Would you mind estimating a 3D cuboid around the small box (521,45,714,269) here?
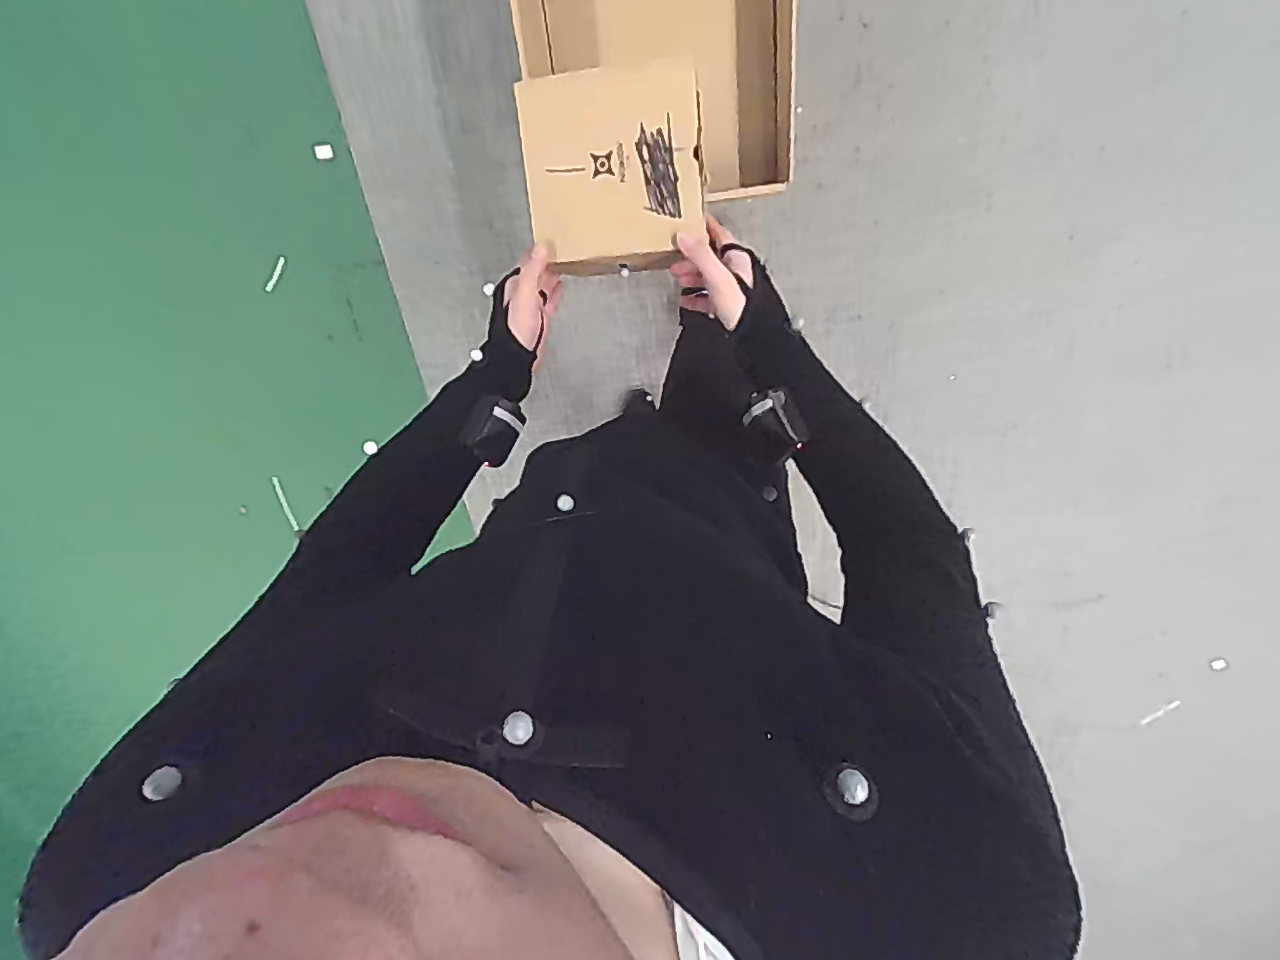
[{"bbox_3d":[-0.011,-0.332,0.593,0.179,0.176,0.168,-2,106,9],"label":"small box"}]
